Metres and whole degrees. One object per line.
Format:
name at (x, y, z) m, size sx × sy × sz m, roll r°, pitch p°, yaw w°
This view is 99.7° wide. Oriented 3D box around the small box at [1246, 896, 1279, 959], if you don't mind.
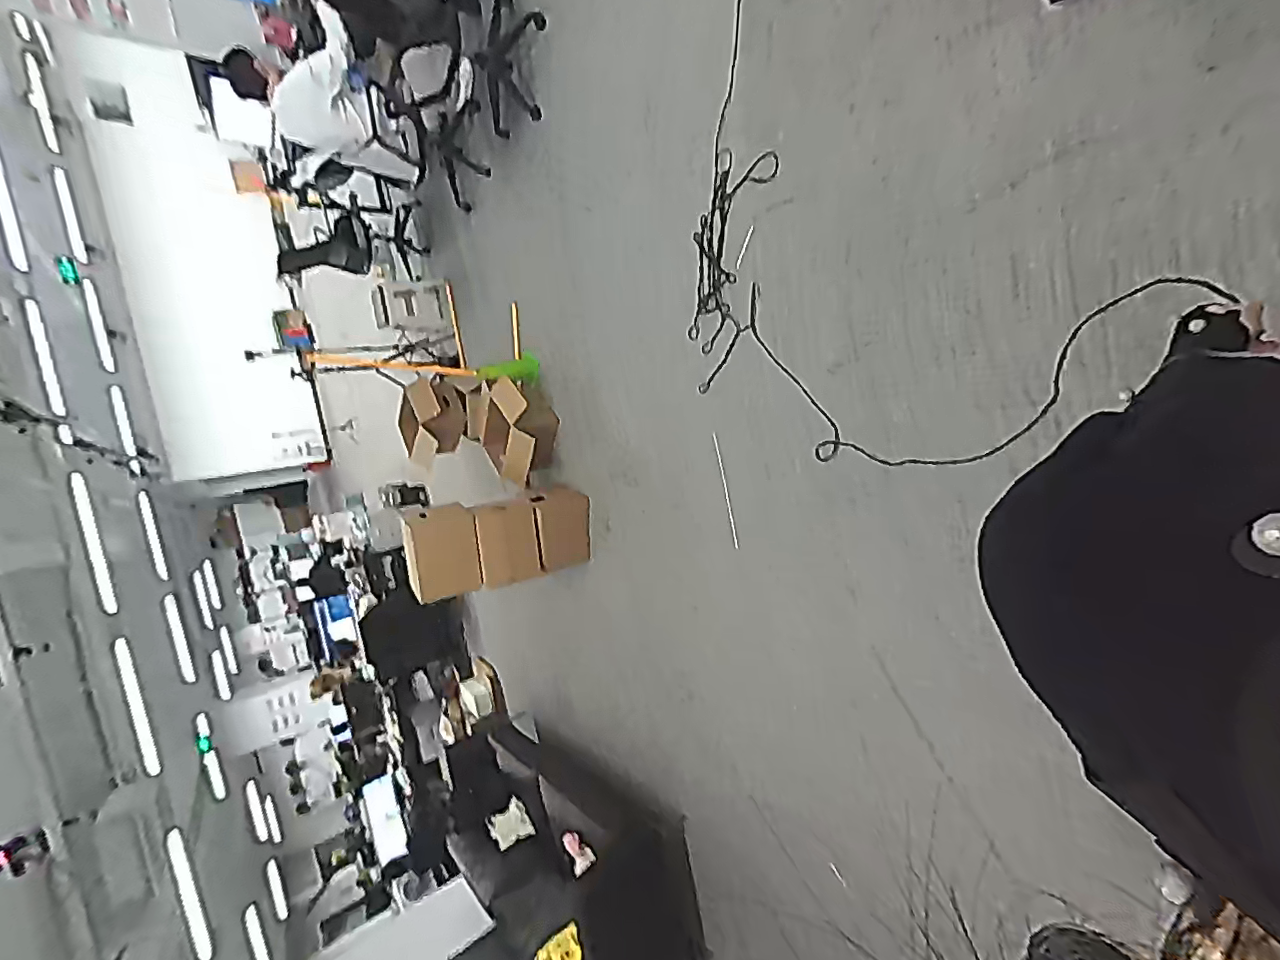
small box at (1.009, 0.755, 0.780) m, size 0.179 × 0.176 × 0.168 m, roll 11°, pitch 109°, yaw 52°
